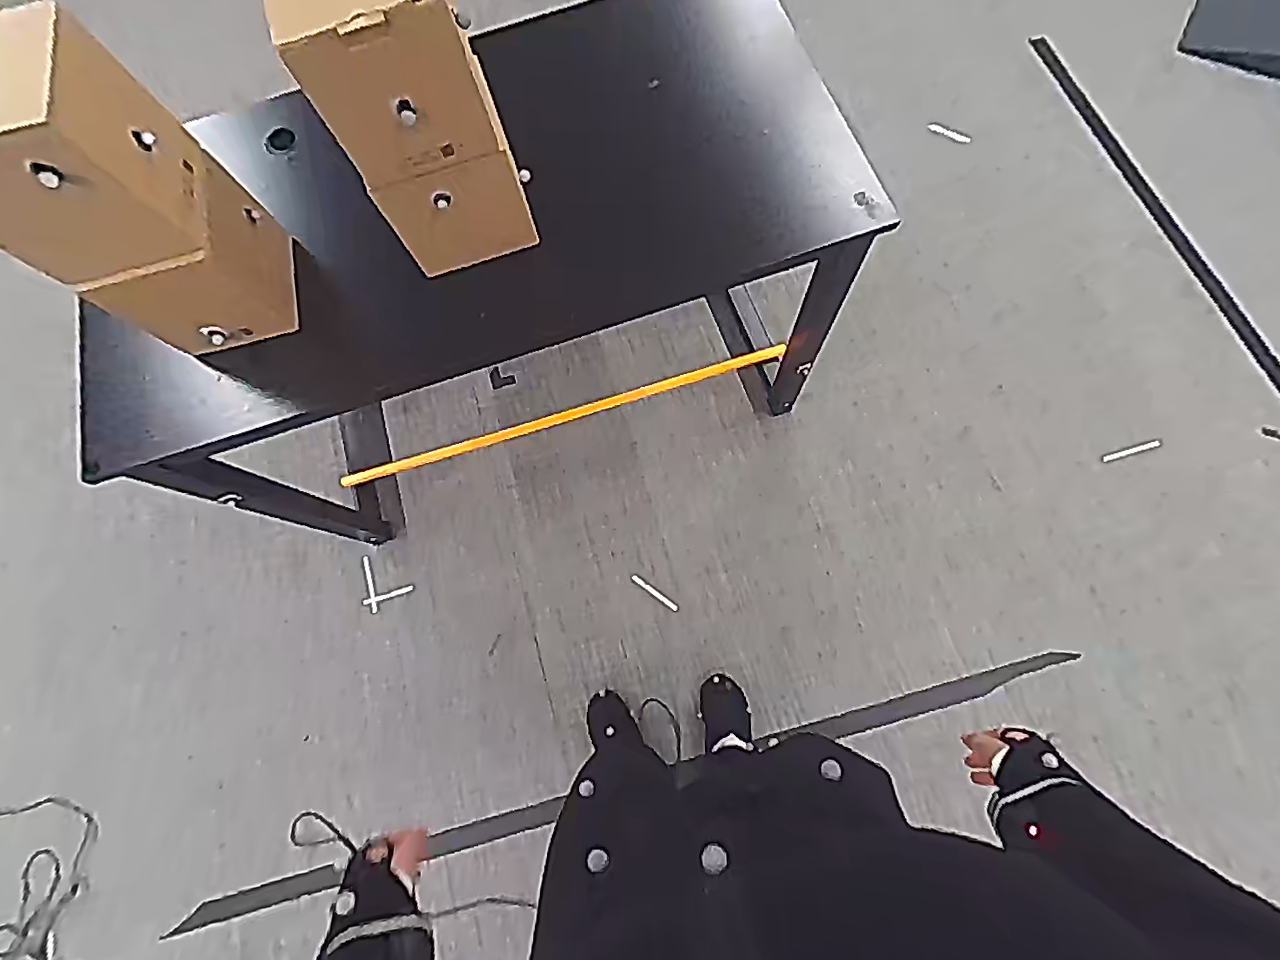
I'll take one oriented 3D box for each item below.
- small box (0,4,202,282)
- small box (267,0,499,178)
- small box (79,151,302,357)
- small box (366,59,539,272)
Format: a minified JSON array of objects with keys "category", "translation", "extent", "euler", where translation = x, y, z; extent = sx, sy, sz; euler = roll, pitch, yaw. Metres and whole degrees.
[{"category":"small box","translation":[-0.619,-0.347,0.584],"extent":[0.179,0.176,0.168],"euler":[-15,73,1]},{"category":"small box","translation":[-0.271,-0.467,0.590],"extent":[0.168,0.176,0.179],"euler":[-19,75,-1]},{"category":"small box","translation":[-0.600,-0.298,0.741],"extent":[0.168,0.176,0.179],"euler":[-15,75,1]},{"category":"small box","translation":[-0.258,-0.419,0.747],"extent":[0.179,0.176,0.168],"euler":[-18,74,-1]}]
